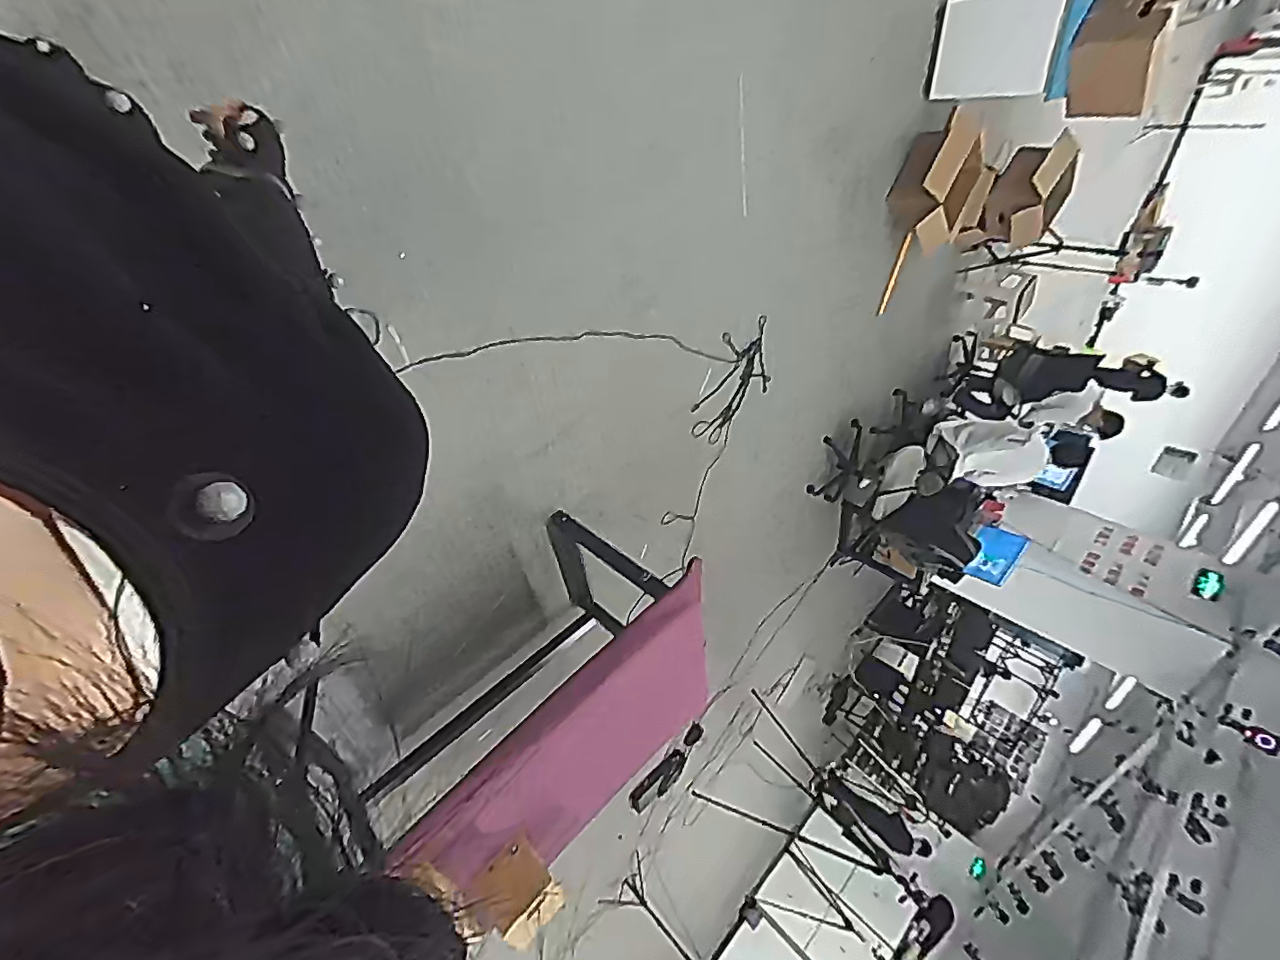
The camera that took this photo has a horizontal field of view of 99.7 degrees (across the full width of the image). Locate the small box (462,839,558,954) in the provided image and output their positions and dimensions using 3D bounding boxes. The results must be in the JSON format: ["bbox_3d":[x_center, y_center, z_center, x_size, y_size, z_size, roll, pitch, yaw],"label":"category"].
[{"bbox_3d":[-0.353,1.123,1.469,0.168,0.176,0.179,-37,137,-28],"label":"small box"}]
